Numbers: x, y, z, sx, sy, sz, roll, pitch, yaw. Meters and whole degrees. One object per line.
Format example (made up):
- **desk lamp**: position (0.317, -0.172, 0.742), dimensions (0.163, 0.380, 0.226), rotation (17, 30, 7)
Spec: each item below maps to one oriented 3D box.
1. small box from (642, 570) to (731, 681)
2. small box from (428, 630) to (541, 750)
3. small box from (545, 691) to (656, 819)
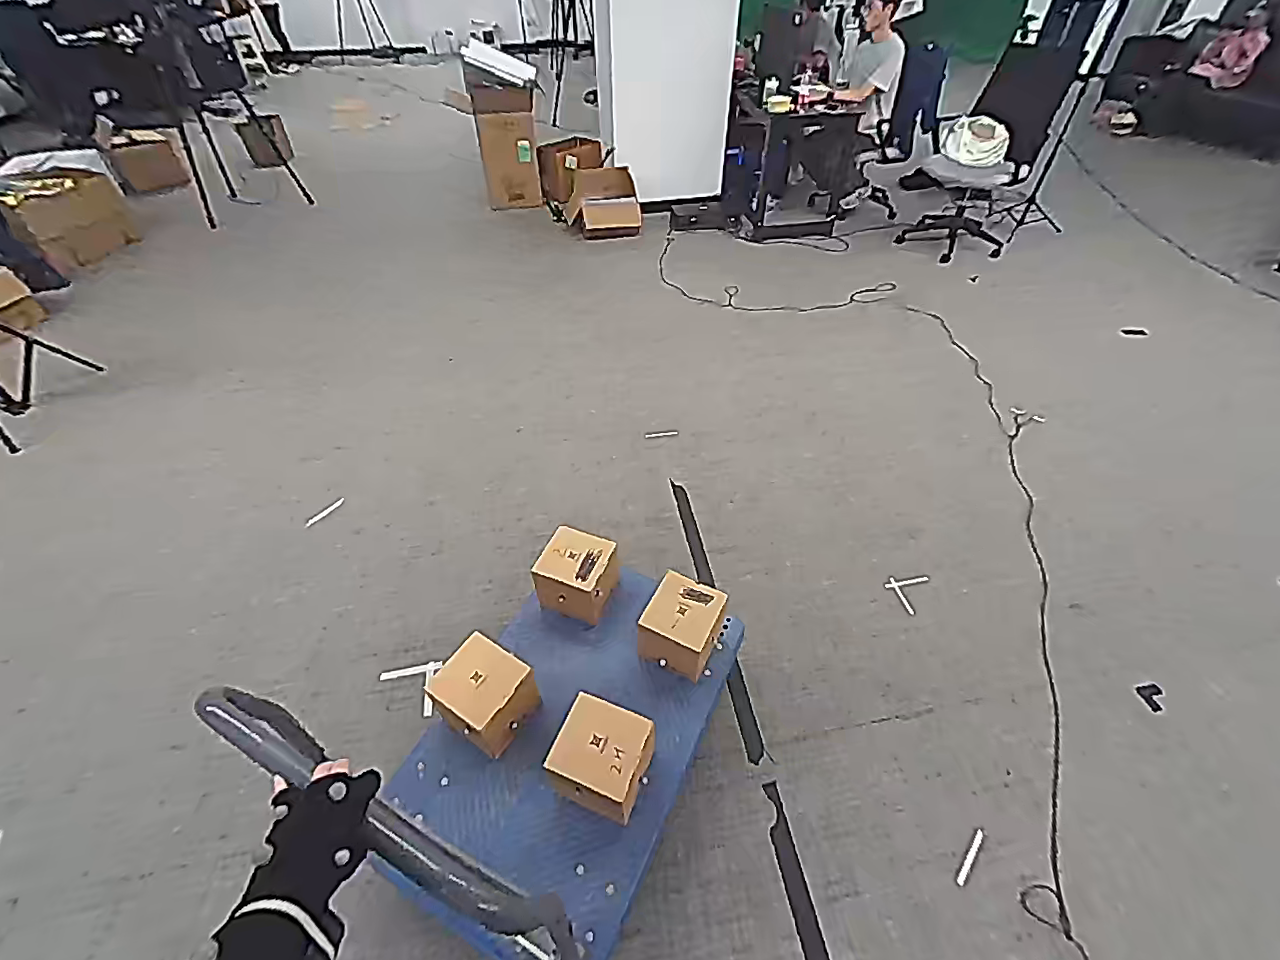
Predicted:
- **small box**: position (0.113, 0.367, 1.362), dimensions (0.168, 0.176, 0.179), rotation (21, 51, 20)
- **small box**: position (-0.350, 0.488, 1.248), dimensions (0.179, 0.176, 0.168), rotation (25, 50, 21)
- **small box**: position (-0.077, 0.586, 1.148), dimensions (0.179, 0.176, 0.168), rotation (17, 48, 17)
